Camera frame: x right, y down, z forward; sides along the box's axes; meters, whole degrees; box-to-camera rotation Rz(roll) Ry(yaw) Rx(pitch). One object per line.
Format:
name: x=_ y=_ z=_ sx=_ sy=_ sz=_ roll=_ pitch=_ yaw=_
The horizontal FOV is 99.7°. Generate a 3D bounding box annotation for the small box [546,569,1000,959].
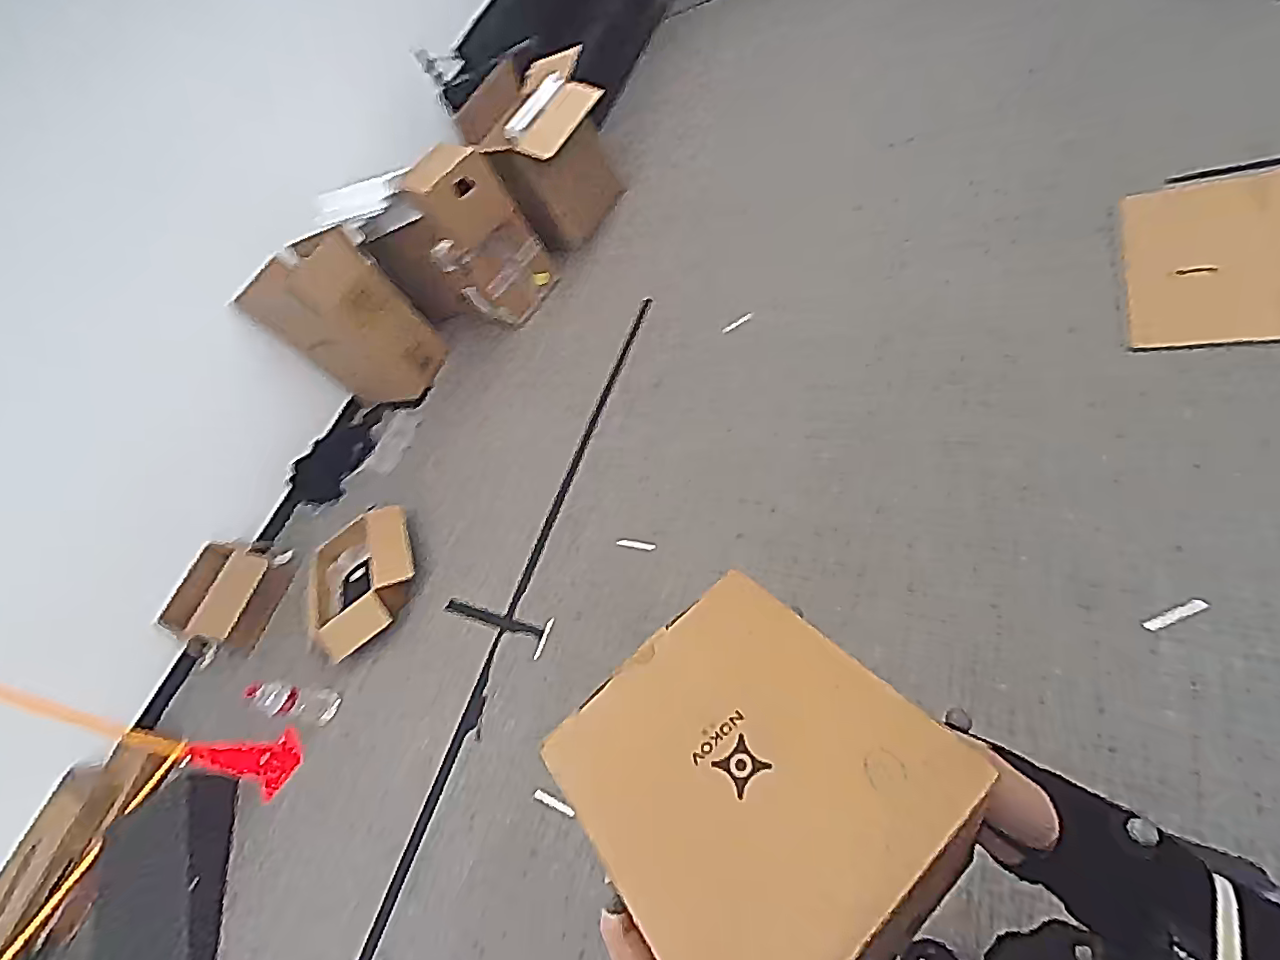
small box: x=0.079 y=0.196 z=0.331 sx=0.168 sy=0.176 sz=0.179 roll=-39 pitch=41 yaw=-13
